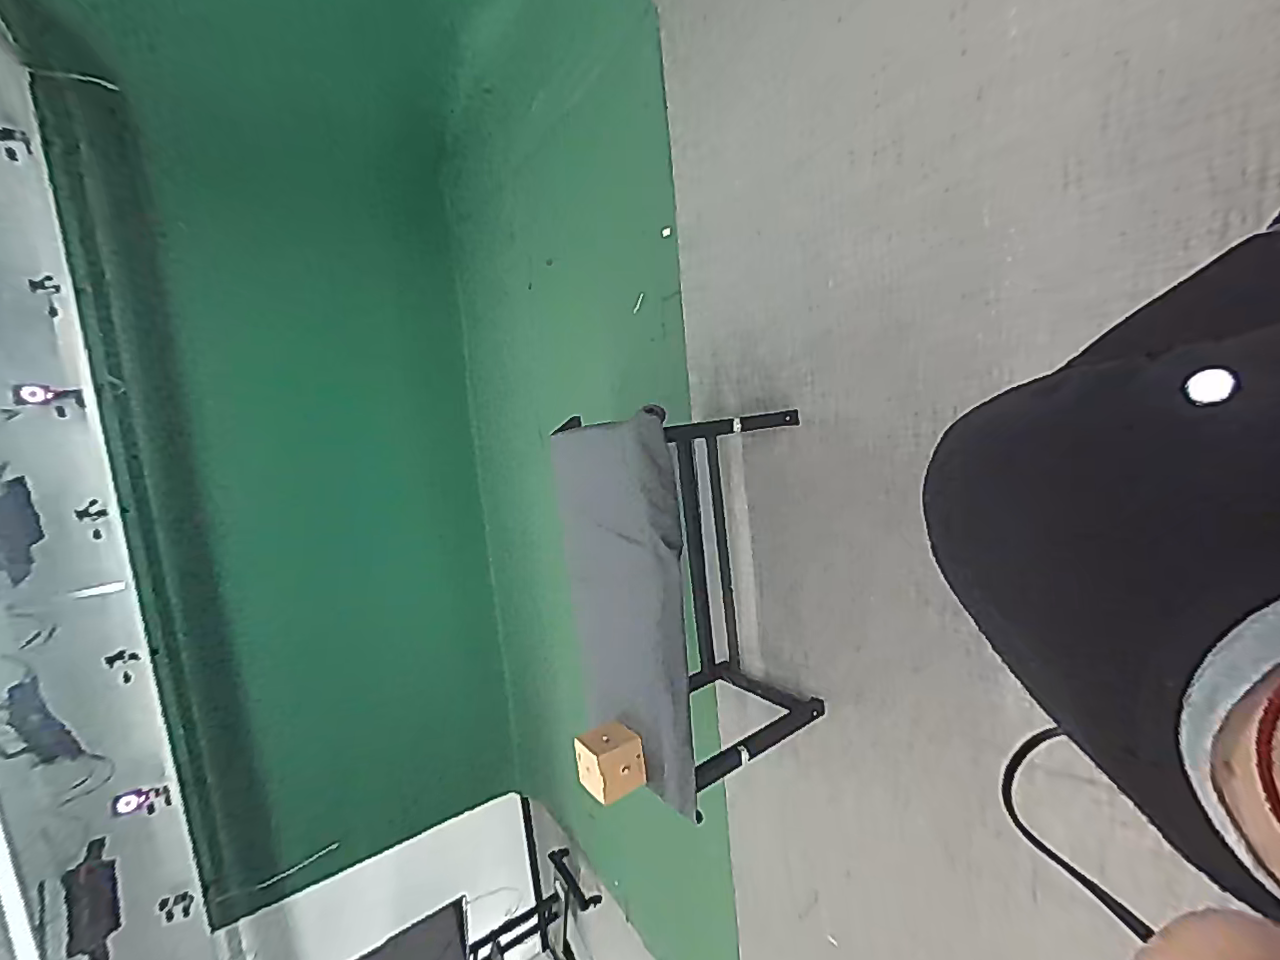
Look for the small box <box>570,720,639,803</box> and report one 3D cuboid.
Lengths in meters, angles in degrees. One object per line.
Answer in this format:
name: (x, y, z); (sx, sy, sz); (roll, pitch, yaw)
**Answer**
small box: (-0.116, 0.945, 1.839); (0.179, 0.176, 0.168); (-3, 96, 55)
